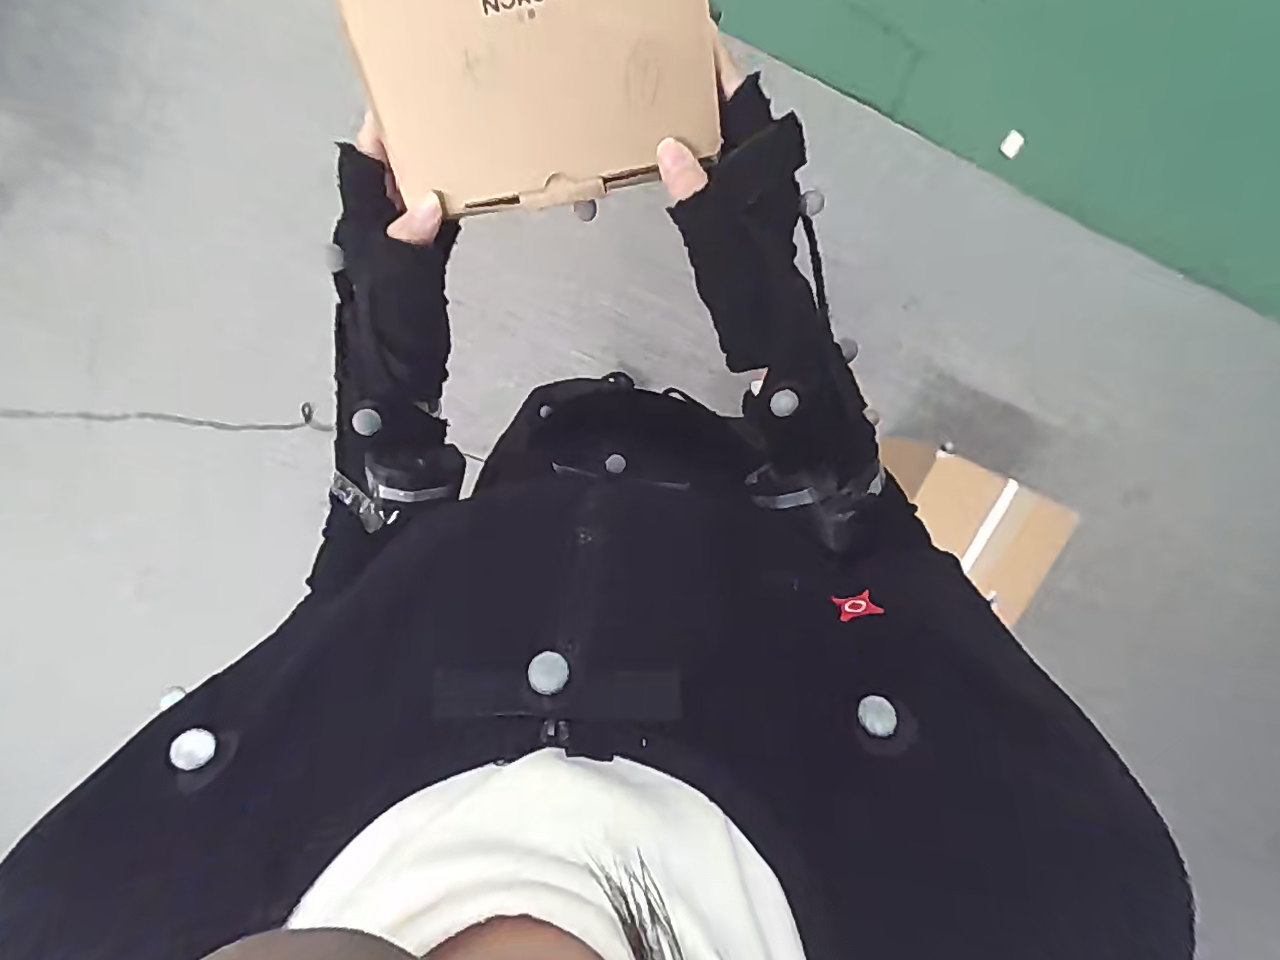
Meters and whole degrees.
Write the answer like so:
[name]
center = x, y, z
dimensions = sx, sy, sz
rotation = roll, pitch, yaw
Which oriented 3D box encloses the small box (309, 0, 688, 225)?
[small box]
center = -0.065, -0.262, 0.310
dimensions = 0.168, 0.176, 0.179
rotation = -8, 118, 7
